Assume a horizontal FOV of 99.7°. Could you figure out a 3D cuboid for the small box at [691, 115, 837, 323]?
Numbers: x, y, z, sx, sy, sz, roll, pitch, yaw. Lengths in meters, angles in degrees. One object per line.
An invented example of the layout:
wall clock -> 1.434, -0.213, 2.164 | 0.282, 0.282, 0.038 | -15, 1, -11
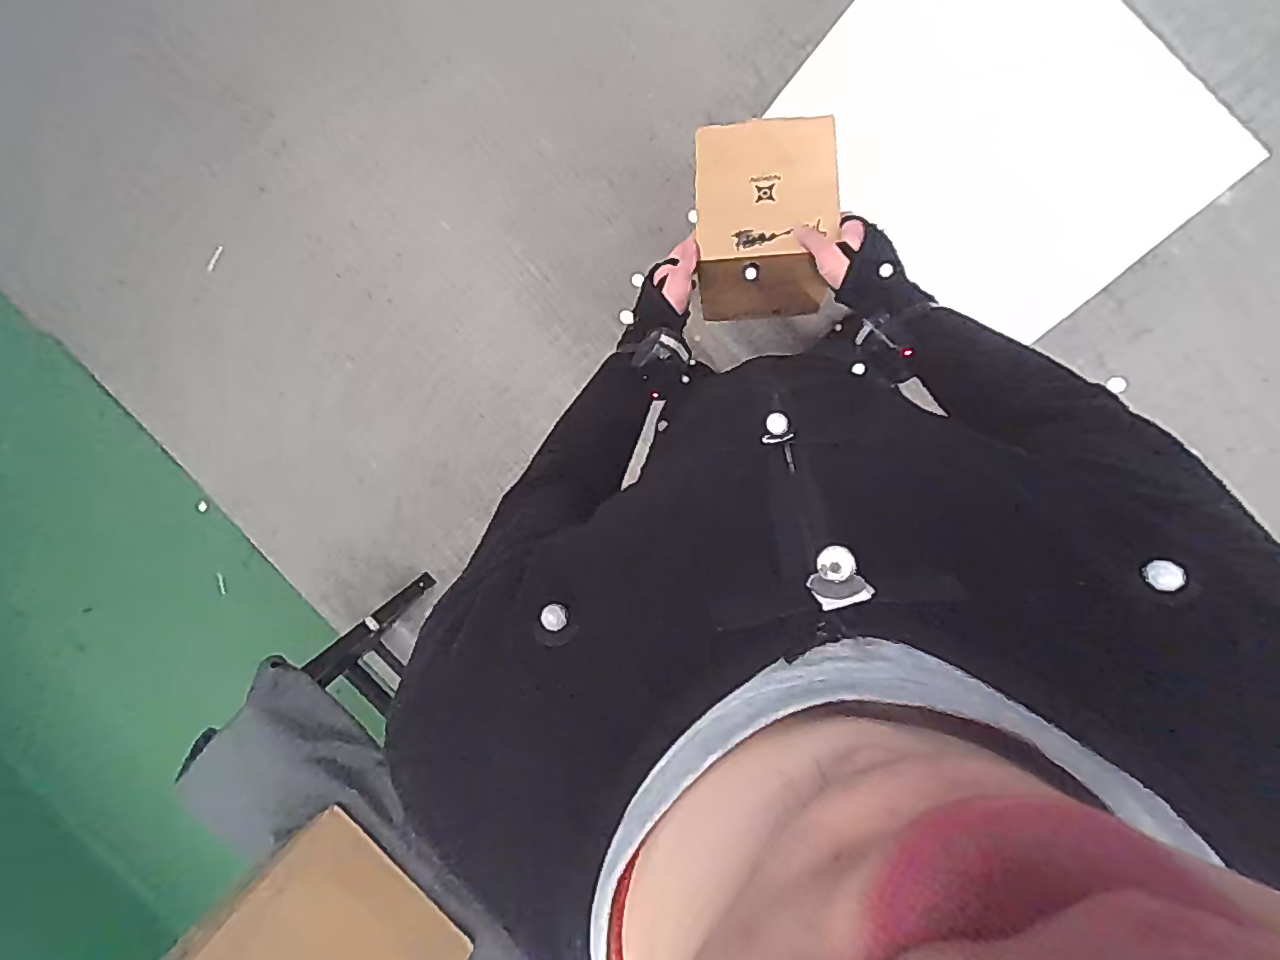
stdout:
small box -> 0.154, -0.327, 0.709 | 0.168, 0.176, 0.179 | -2, 80, 10
